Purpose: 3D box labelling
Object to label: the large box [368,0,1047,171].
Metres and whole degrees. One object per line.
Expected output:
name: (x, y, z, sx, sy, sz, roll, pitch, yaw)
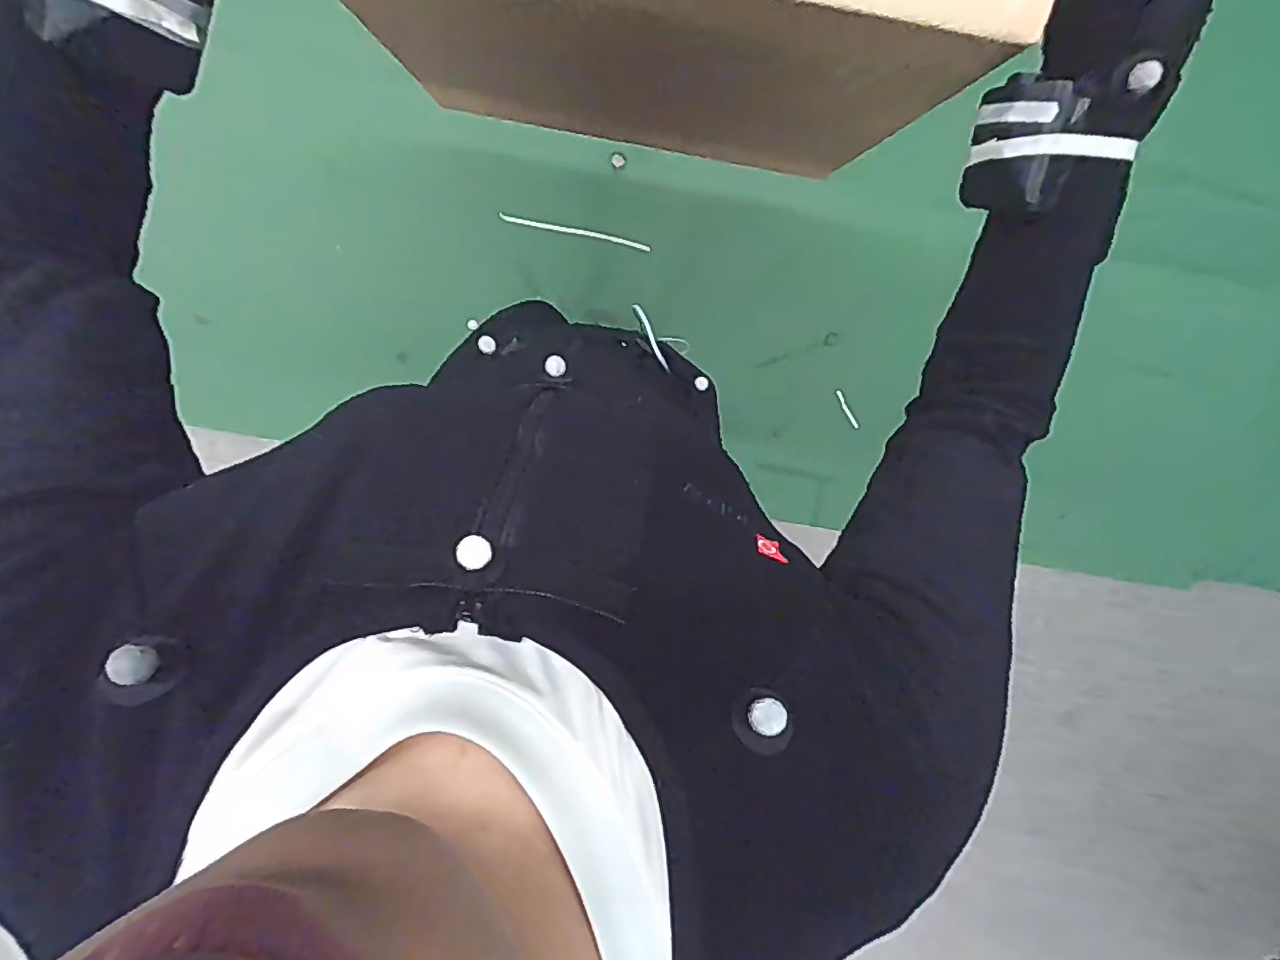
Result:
large box: (0.030, -0.448, 0.372, 0.408, 0.320, 0.320, 8, 108, -5)
